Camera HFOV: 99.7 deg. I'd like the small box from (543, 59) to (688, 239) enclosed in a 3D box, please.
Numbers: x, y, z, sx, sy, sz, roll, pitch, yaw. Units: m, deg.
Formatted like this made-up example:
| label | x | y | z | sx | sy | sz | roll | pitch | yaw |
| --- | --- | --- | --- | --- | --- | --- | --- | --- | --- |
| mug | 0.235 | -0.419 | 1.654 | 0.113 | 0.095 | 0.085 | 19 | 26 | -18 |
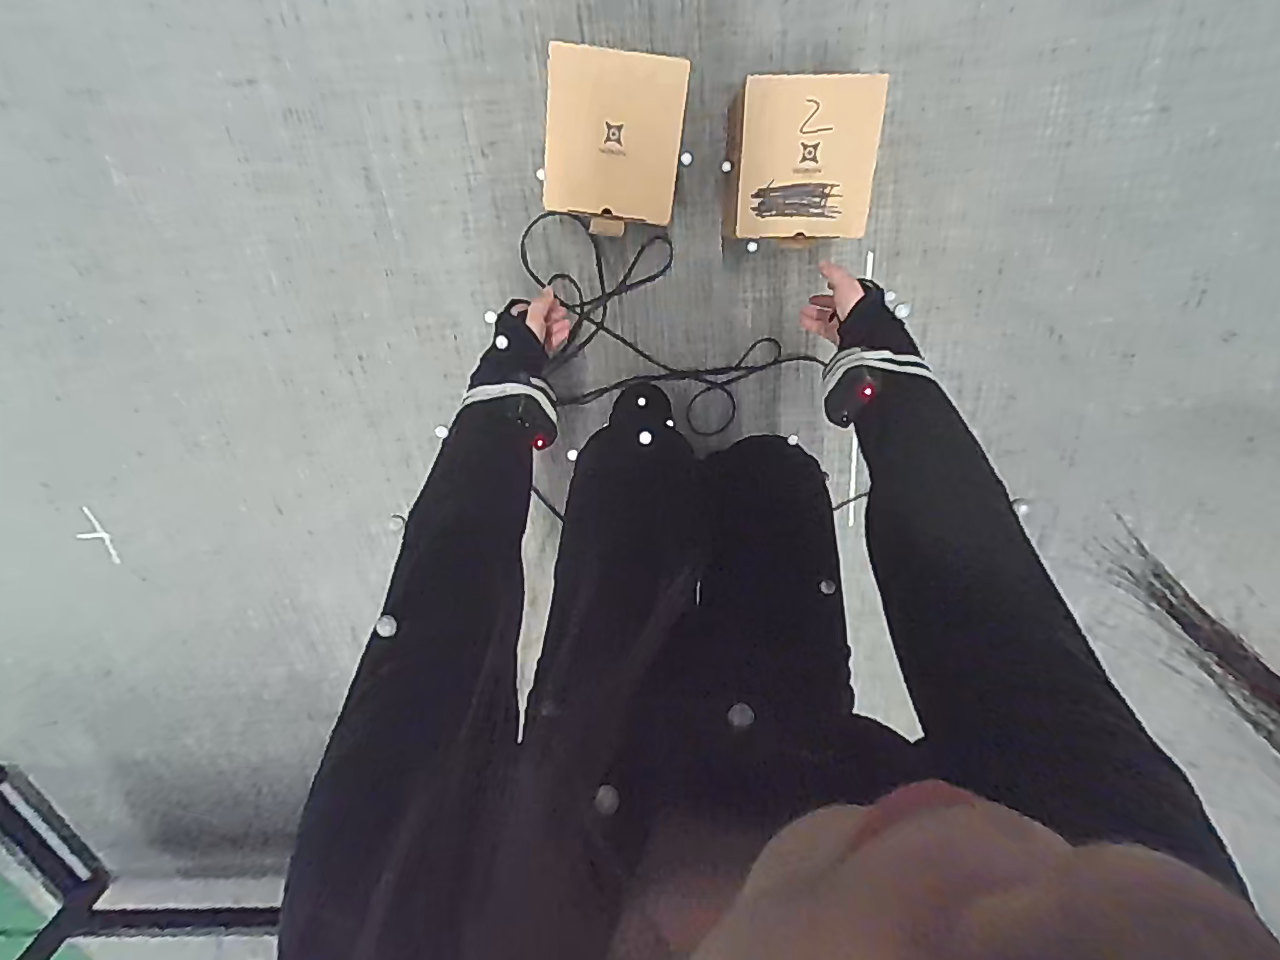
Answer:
| label | x | y | z | sx | sy | sz | roll | pitch | yaw |
| --- | --- | --- | --- | --- | --- | --- | --- | --- | --- |
| small box | -0.032 | -0.436 | 0.738 | 0.168 | 0.176 | 0.179 | 7 | 115 | -1 |
